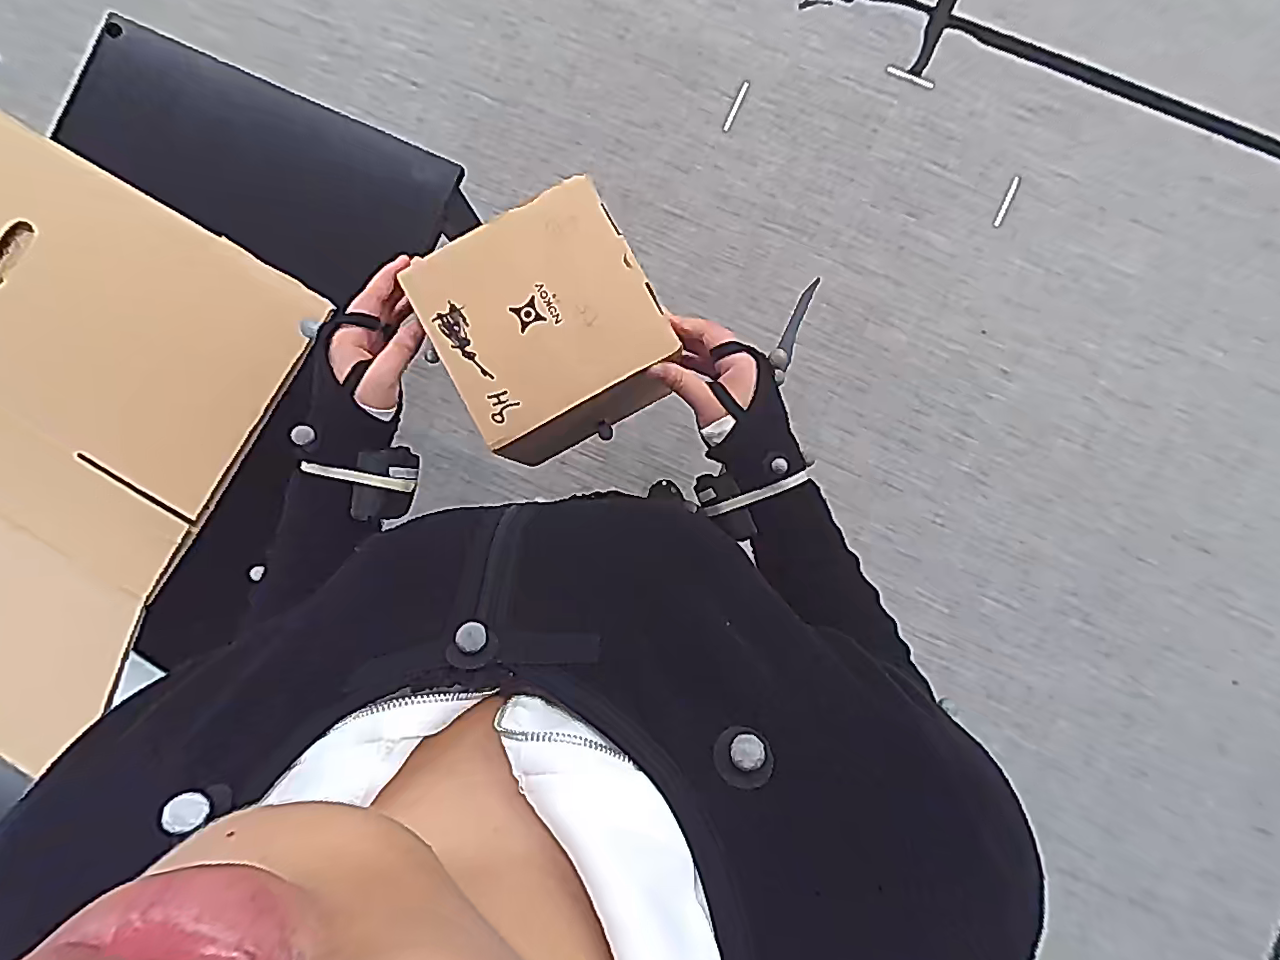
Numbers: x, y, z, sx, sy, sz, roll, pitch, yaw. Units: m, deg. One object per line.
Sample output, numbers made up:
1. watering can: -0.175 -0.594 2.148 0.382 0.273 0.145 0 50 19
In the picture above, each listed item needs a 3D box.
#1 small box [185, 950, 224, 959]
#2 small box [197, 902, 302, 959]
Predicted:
1. small box: -1.046 1.247 1.246 0.179 0.176 0.168 18 88 3
2. small box: -1.036 1.256 1.408 0.179 0.176 0.168 20 89 2
